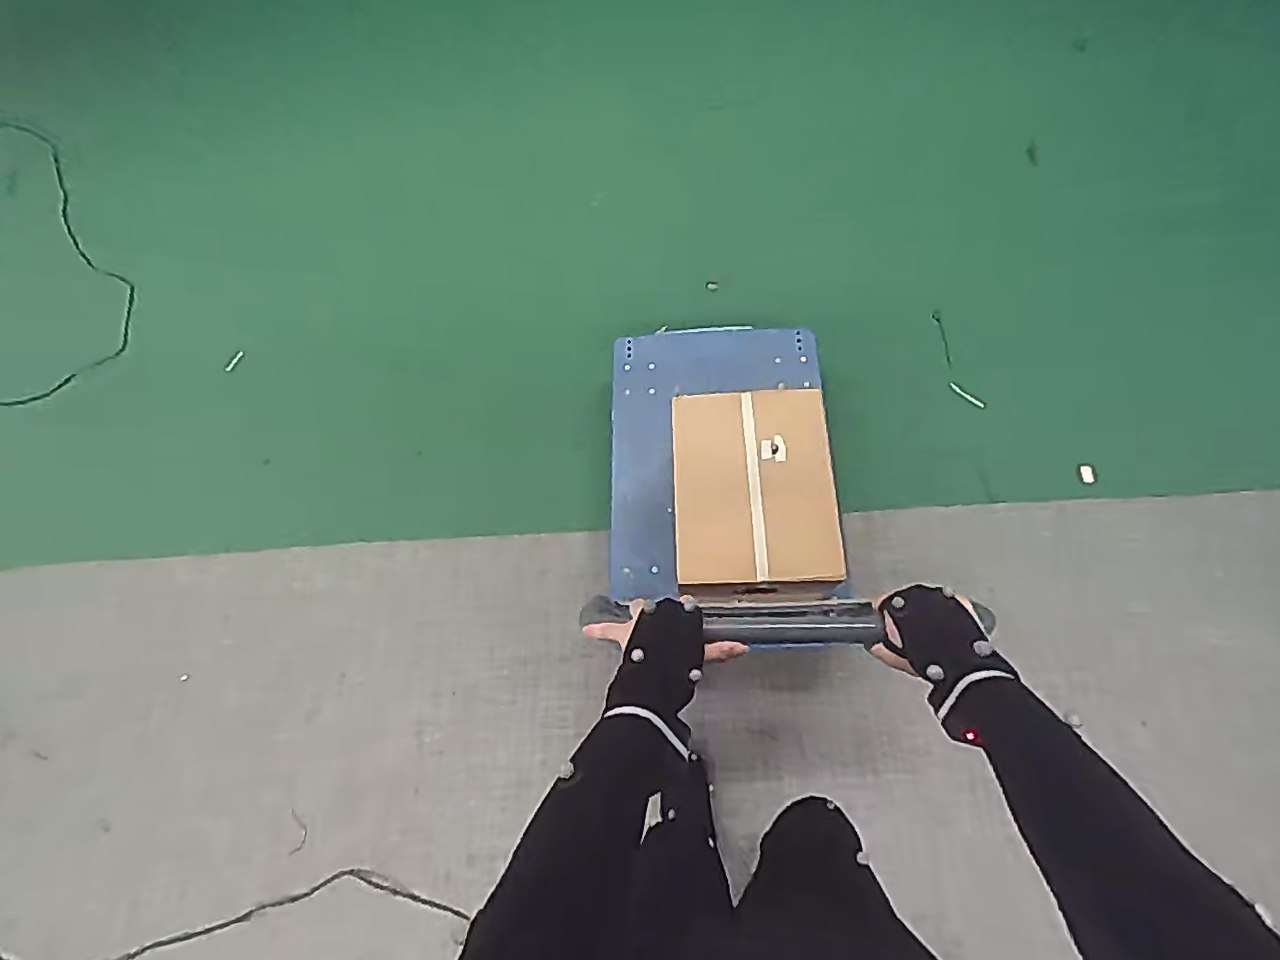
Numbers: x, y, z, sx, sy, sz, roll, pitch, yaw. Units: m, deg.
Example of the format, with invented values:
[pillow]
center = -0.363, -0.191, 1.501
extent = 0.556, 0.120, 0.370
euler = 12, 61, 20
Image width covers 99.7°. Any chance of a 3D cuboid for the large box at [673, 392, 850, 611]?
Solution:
[large box]
center = 0.240, 0.062, 1.203
extent = 0.320, 0.320, 0.408
euler = -2, 68, 3
